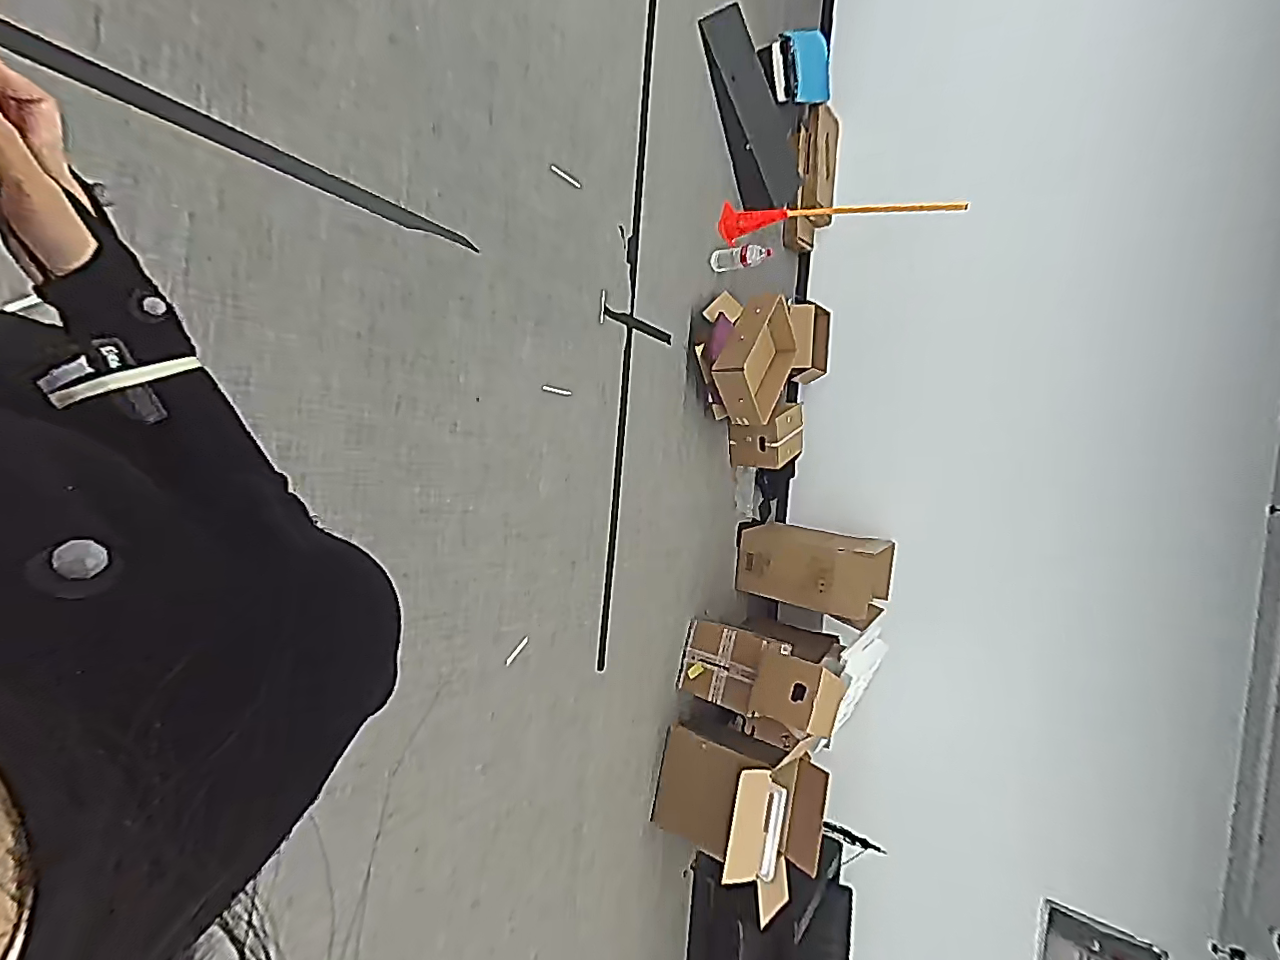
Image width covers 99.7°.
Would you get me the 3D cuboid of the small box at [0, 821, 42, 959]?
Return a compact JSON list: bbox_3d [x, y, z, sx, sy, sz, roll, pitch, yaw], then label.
[{"bbox_3d":[-1.188,0.726,0.927,0.179,0.176,0.168,16,81,-55],"label":"small box"}]
